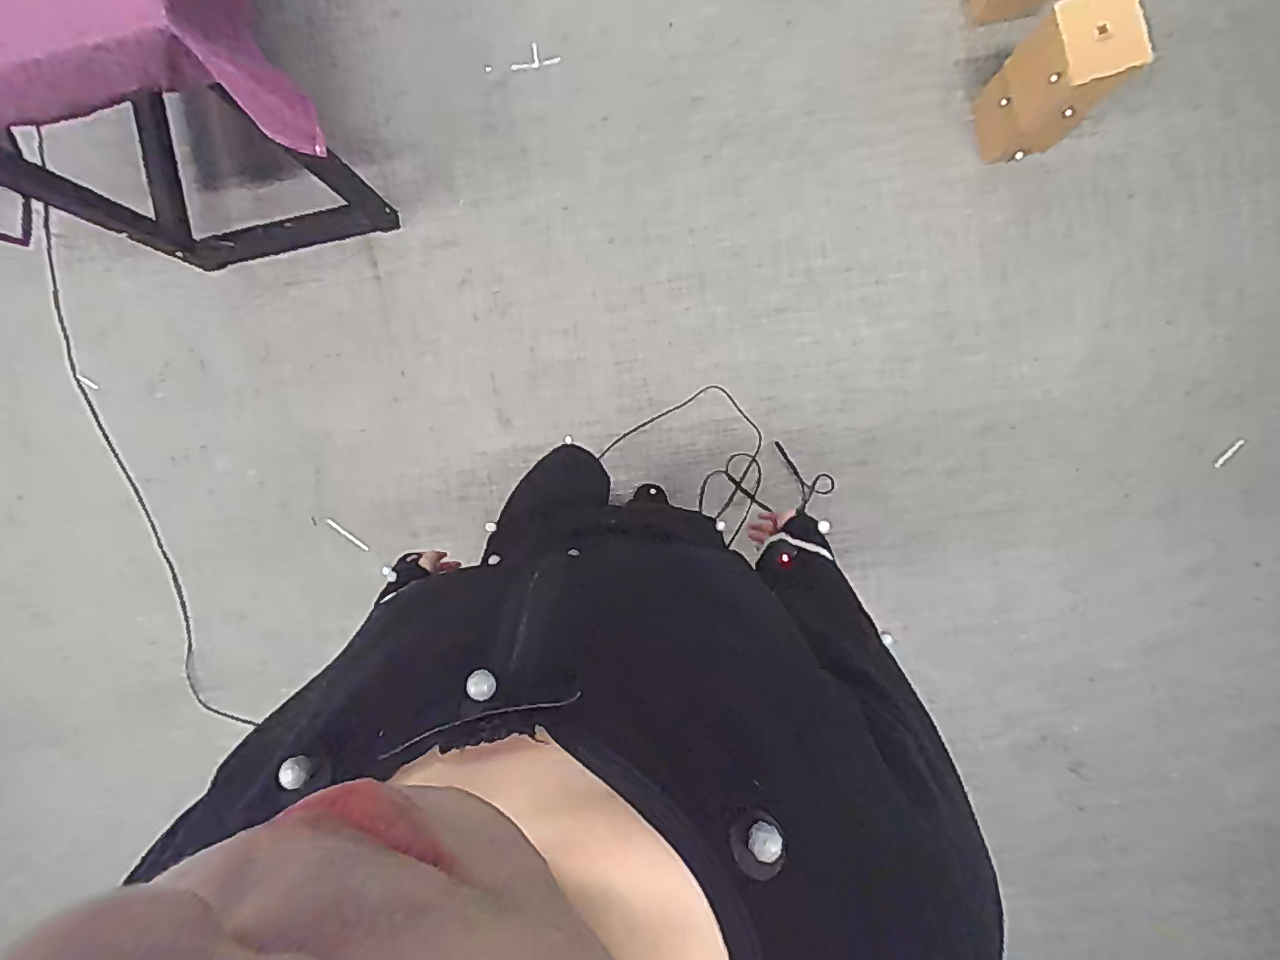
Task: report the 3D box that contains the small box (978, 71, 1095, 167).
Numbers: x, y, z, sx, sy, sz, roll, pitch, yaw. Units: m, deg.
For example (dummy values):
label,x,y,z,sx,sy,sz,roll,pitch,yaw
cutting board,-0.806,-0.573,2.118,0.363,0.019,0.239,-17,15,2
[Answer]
label,x,y,z,sx,sy,sz,roll,pitch,yaw
small box,0.978,-0.926,1.351,0.168,0.176,0.179,-10,92,4

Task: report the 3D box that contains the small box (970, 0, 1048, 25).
label,x,y,z,sx,sy,sz,roll,pitch,yaw
small box,0.943,-1.278,1.339,0.179,0.176,0.168,-8,92,2

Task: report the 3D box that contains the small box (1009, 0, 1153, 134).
label,x,y,z,sx,sy,sz,roll,pitch,yaw
small box,0.956,-0.914,1.190,0.168,0.176,0.179,-15,92,3
